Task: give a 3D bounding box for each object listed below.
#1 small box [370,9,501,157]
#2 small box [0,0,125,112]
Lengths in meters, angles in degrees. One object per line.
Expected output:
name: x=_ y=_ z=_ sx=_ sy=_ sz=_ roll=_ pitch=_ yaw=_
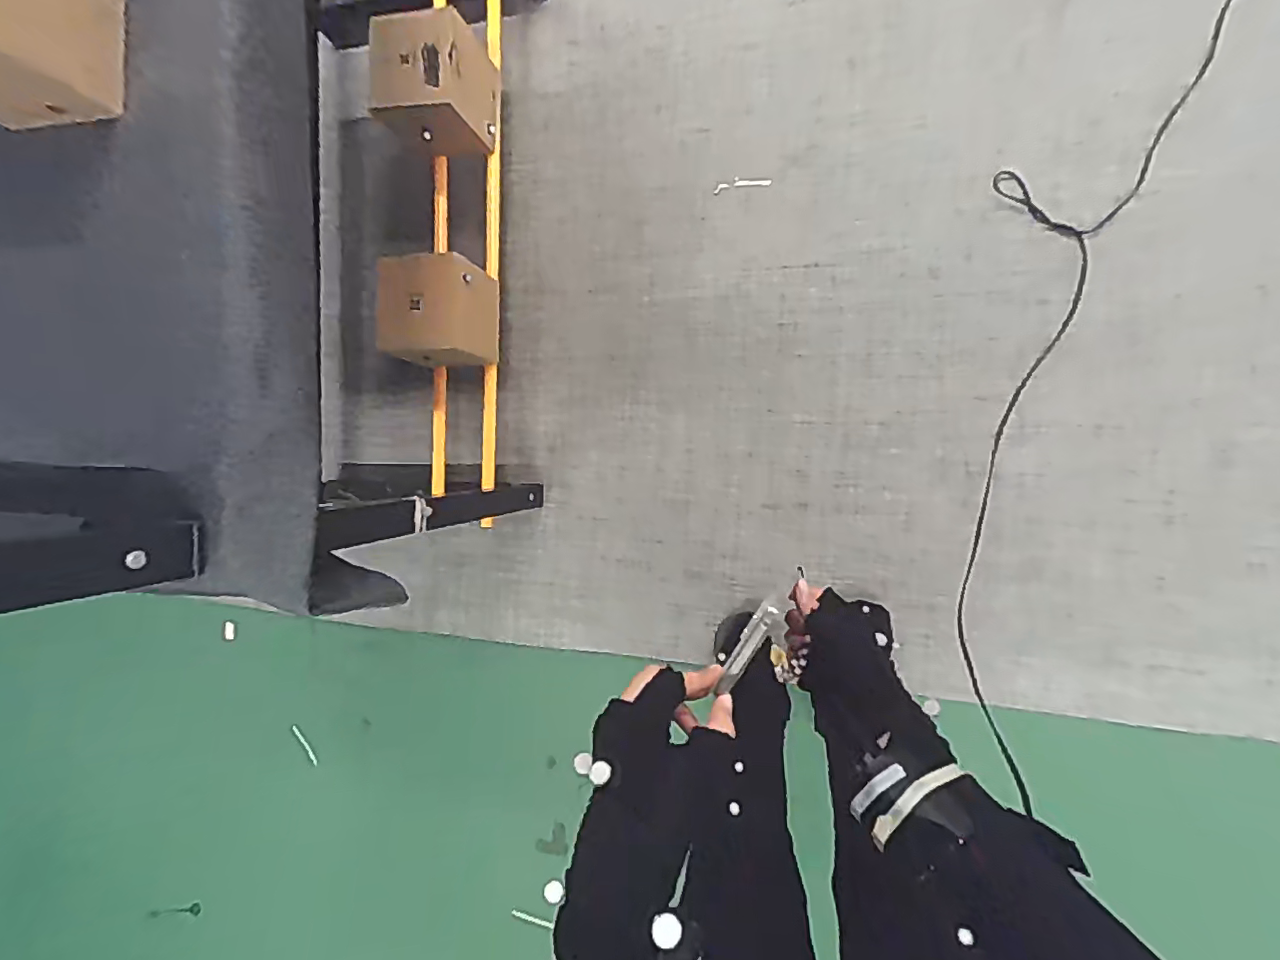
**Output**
small box: x=-0.387 y=-0.754 z=1.047 sx=0.179 sy=0.176 sz=0.168 roll=5 pitch=93 yaw=14
small box: x=-0.595 y=-0.451 z=0.466 sx=0.168 sy=0.176 sz=0.179 roll=5 pitch=93 yaw=14
